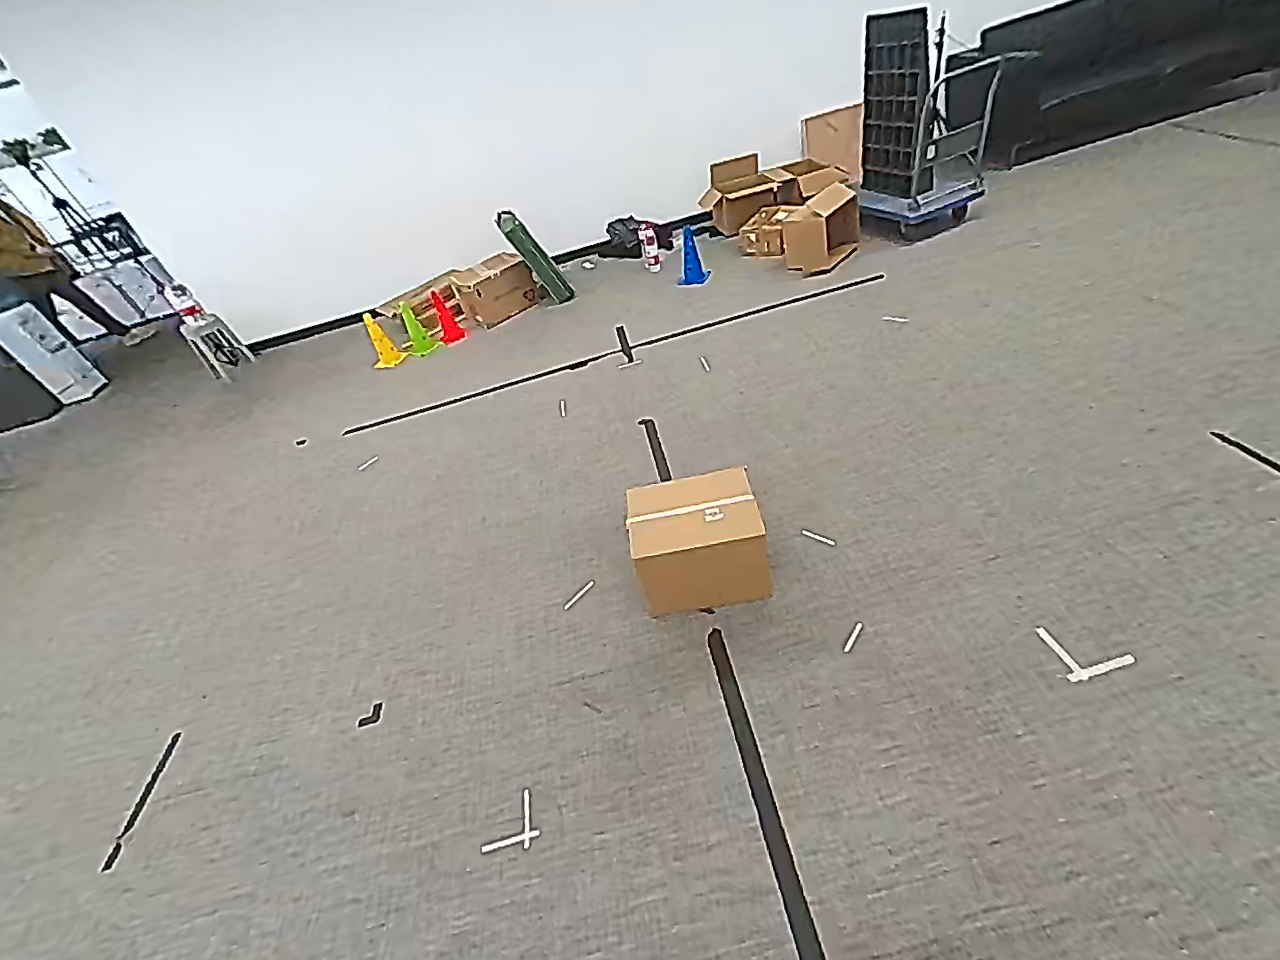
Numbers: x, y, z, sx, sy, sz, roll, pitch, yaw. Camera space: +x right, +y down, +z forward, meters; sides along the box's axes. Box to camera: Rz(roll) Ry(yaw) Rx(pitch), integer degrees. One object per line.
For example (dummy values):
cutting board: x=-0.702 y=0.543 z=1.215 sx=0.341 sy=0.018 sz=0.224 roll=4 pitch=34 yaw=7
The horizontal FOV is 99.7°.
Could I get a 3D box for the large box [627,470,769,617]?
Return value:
large box: x=0.186 y=0.212 z=1.783 sx=0.408 sy=0.320 sz=0.320 roll=-11 pitch=41 yaw=5
